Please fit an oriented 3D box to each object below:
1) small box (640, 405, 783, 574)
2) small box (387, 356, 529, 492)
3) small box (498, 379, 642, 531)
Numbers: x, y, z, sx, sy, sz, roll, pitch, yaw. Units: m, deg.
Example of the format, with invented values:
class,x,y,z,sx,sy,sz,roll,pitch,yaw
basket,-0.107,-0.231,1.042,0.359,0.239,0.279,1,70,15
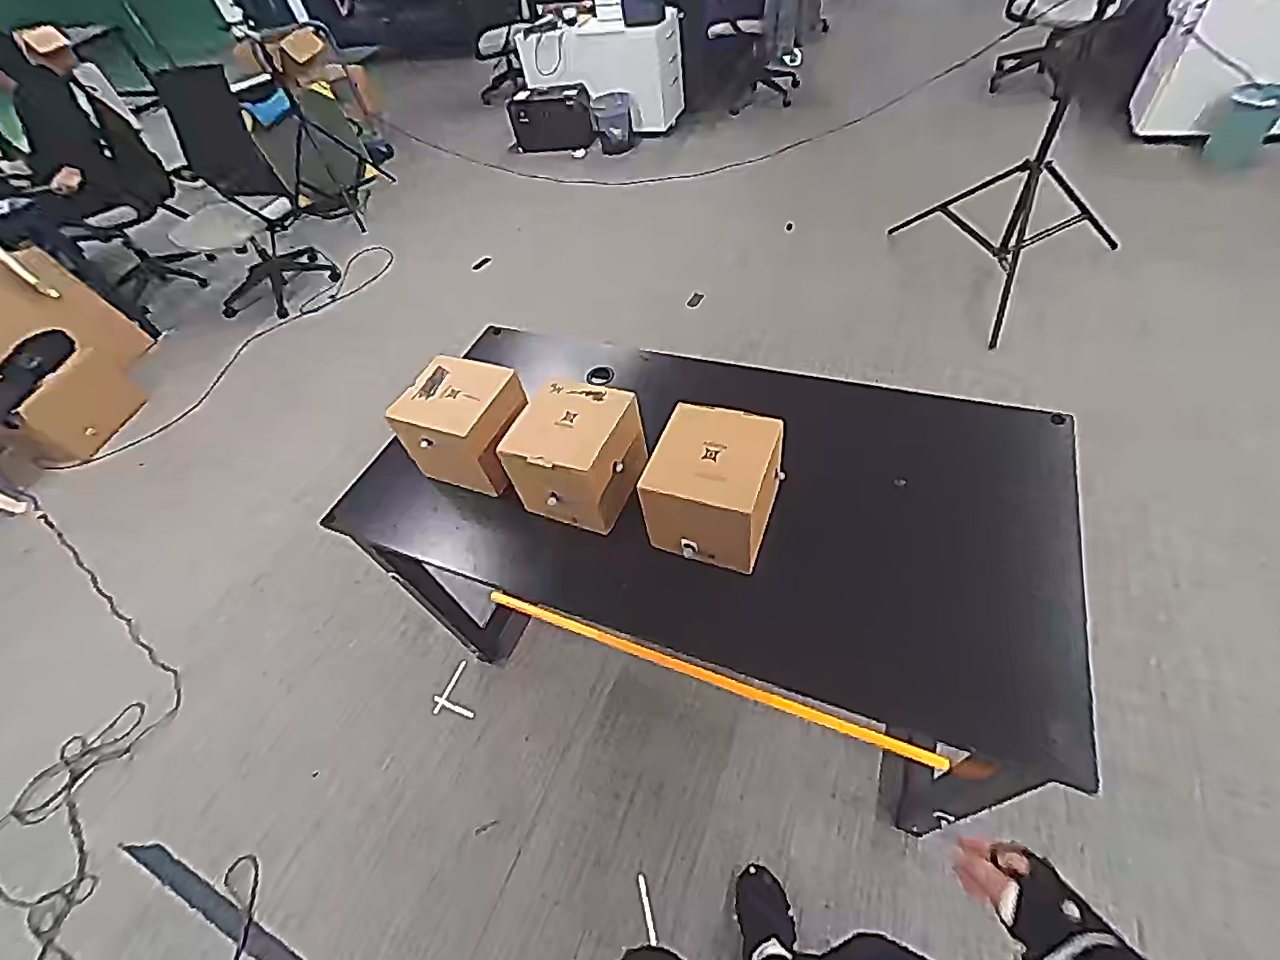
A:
class,x,y,z,sx,sy,sz,roll,pitch,yaw
small box,0.115,0.015,0.834,0.168,0.176,0.179,13,56,20
small box,-0.313,-0.101,0.994,0.179,0.176,0.168,15,57,19
small box,-0.104,-0.040,0.912,0.168,0.176,0.179,15,56,19
